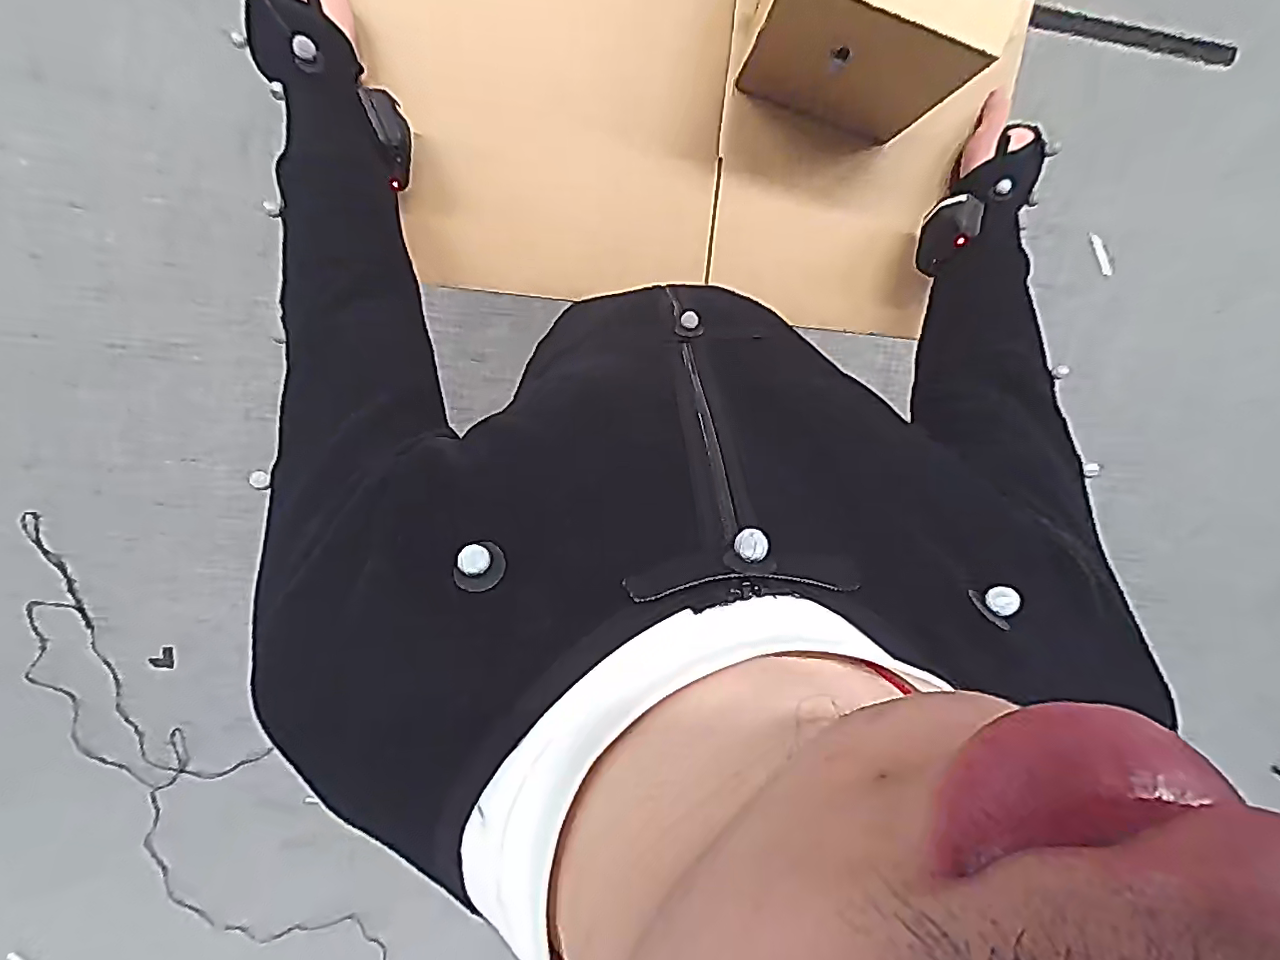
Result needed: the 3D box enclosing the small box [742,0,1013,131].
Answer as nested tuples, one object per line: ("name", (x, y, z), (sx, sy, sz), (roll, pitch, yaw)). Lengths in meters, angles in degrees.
("small box", (0.205, -0.438, 0.465), (0.179, 0.176, 0.168), (15, 102, -6))
